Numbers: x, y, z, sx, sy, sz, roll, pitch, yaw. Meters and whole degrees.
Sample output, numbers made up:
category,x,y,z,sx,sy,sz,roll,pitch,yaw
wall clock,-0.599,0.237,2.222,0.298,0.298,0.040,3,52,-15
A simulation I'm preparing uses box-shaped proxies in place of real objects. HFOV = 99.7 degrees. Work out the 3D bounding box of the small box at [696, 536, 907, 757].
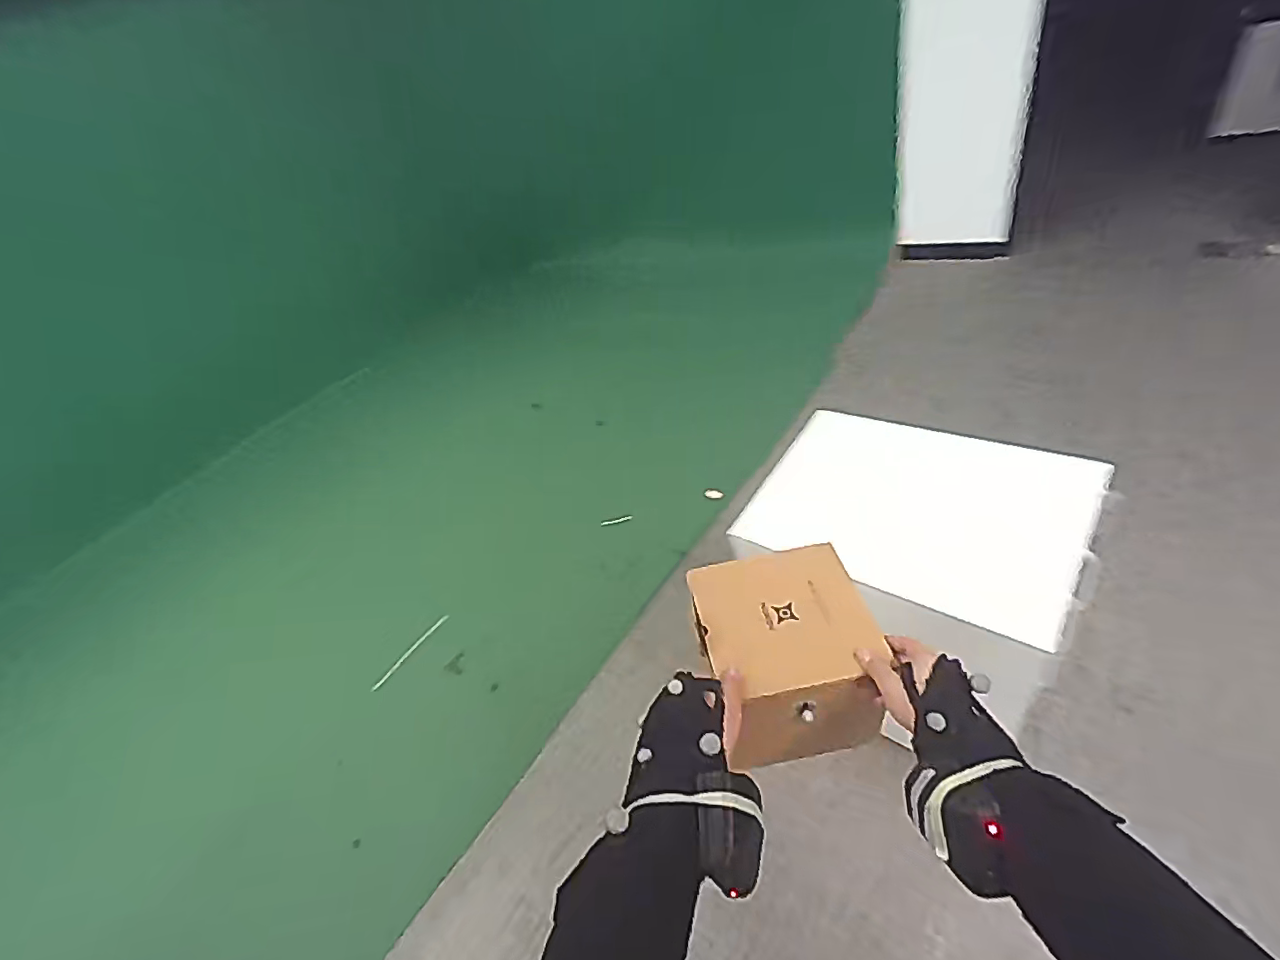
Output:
category,x,y,z,sx,sy,sz,roll,pitch,yaw
small box,0.169,0.192,0.617,0.179,0.176,0.168,-10,42,-1
